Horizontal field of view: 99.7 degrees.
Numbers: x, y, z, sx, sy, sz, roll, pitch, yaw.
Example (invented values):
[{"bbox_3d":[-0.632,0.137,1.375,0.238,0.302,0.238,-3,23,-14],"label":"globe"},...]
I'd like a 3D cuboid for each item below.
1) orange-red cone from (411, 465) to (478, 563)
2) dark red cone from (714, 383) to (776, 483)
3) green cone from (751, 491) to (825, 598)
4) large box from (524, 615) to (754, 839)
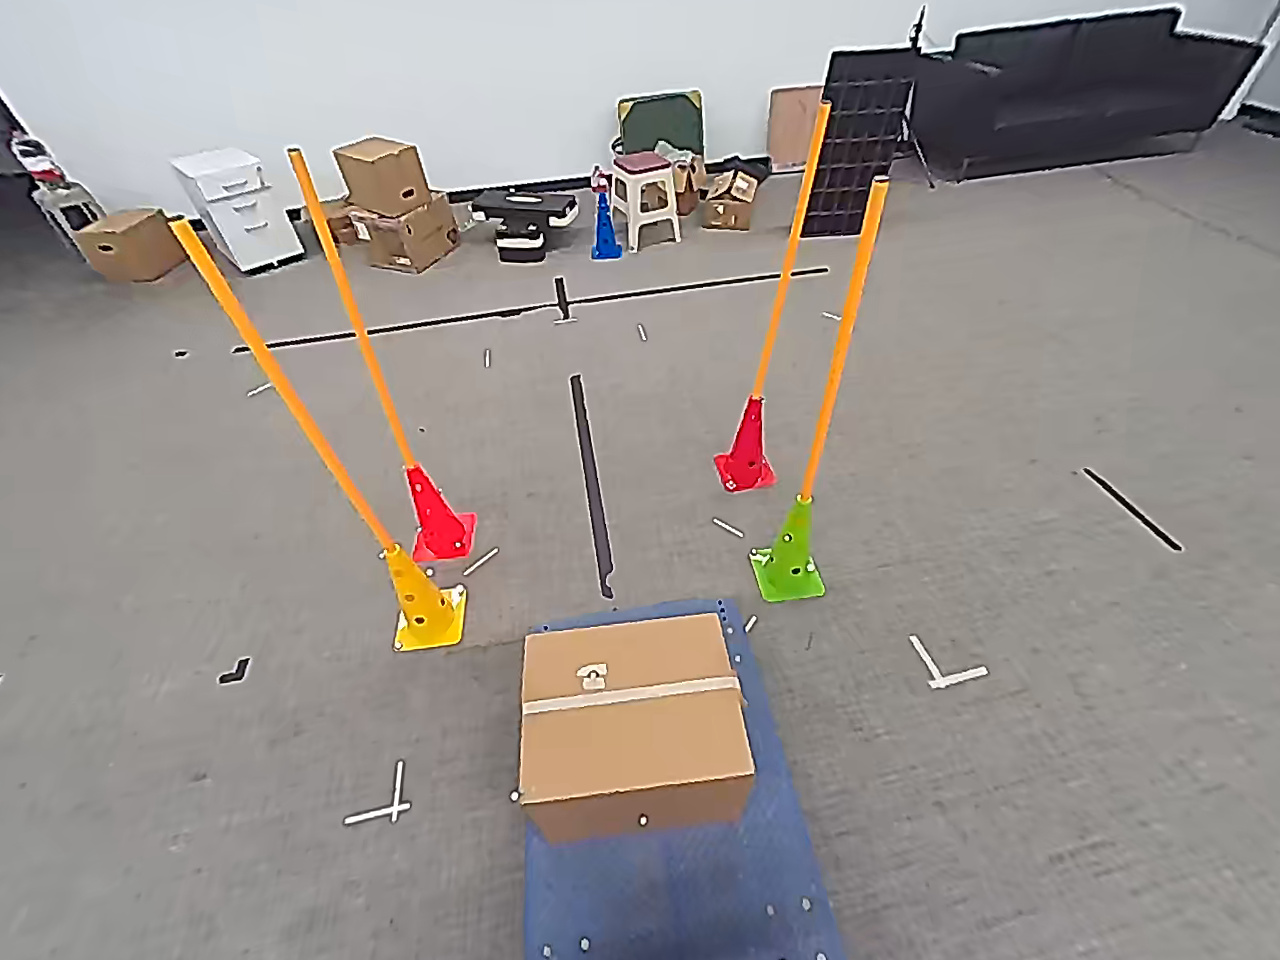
[{"bbox_3d":[-0.692,0.090,1.805,0.198,0.360,0.199,-4,44,-1],"label":"orange-red cone"},{"bbox_3d":[0.399,-0.178,1.963,0.201,0.394,0.202,-9,46,-7],"label":"dark red cone"},{"bbox_3d":[0.472,0.174,1.637,0.202,0.368,0.200,-6,45,-4],"label":"green cone"},{"bbox_3d":[-0.006,0.518,1.128,0.408,0.320,0.320,-7,46,-2],"label":"large box"}]
